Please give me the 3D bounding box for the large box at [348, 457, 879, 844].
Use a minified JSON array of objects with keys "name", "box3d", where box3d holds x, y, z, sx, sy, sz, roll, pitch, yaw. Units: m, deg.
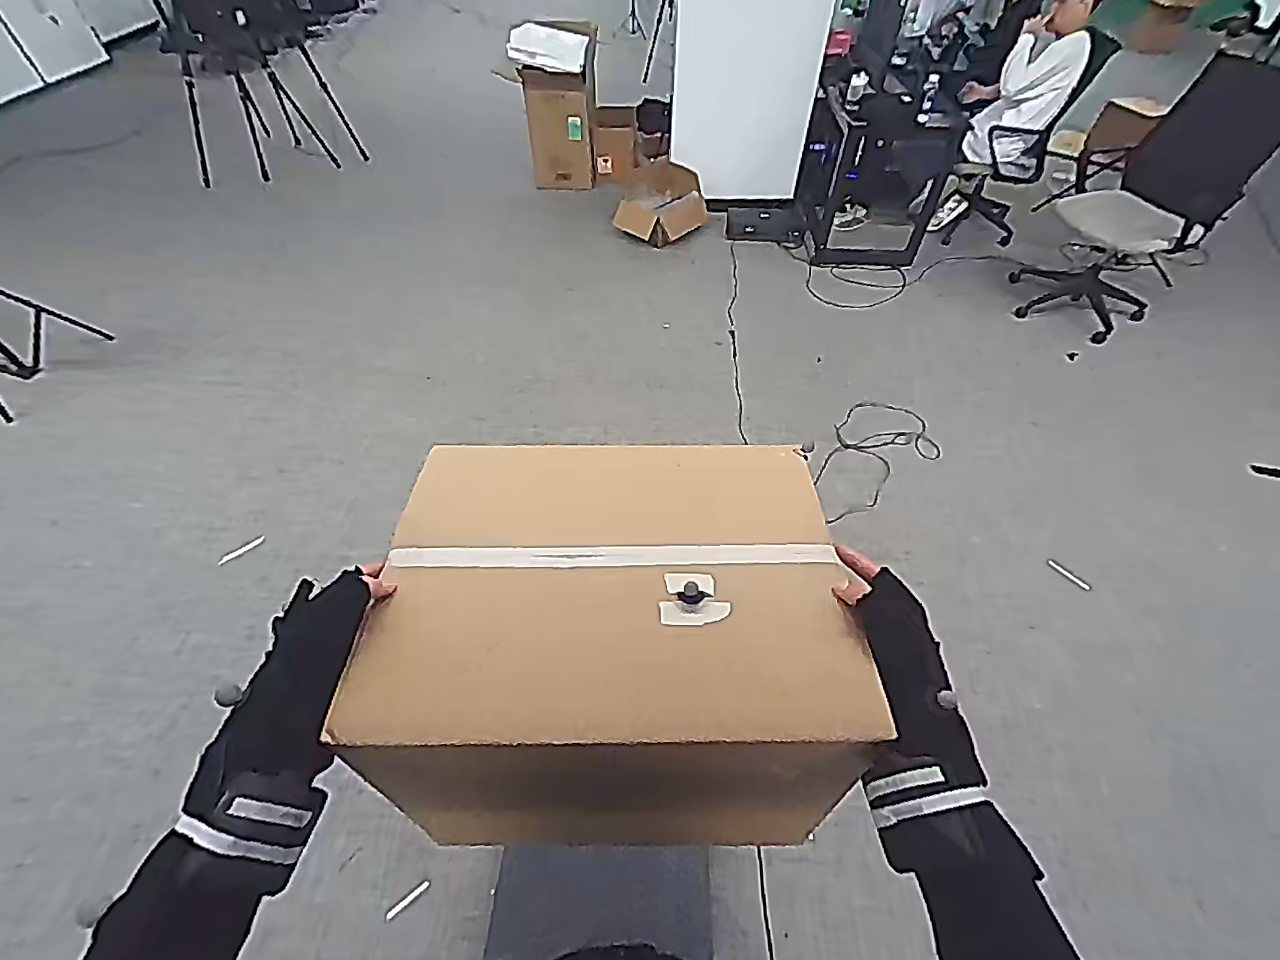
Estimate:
[{"name":"large box","box3d":[-0.023,0.188,0.607,0.408,0.320,0.320,0,45,-1]}]
